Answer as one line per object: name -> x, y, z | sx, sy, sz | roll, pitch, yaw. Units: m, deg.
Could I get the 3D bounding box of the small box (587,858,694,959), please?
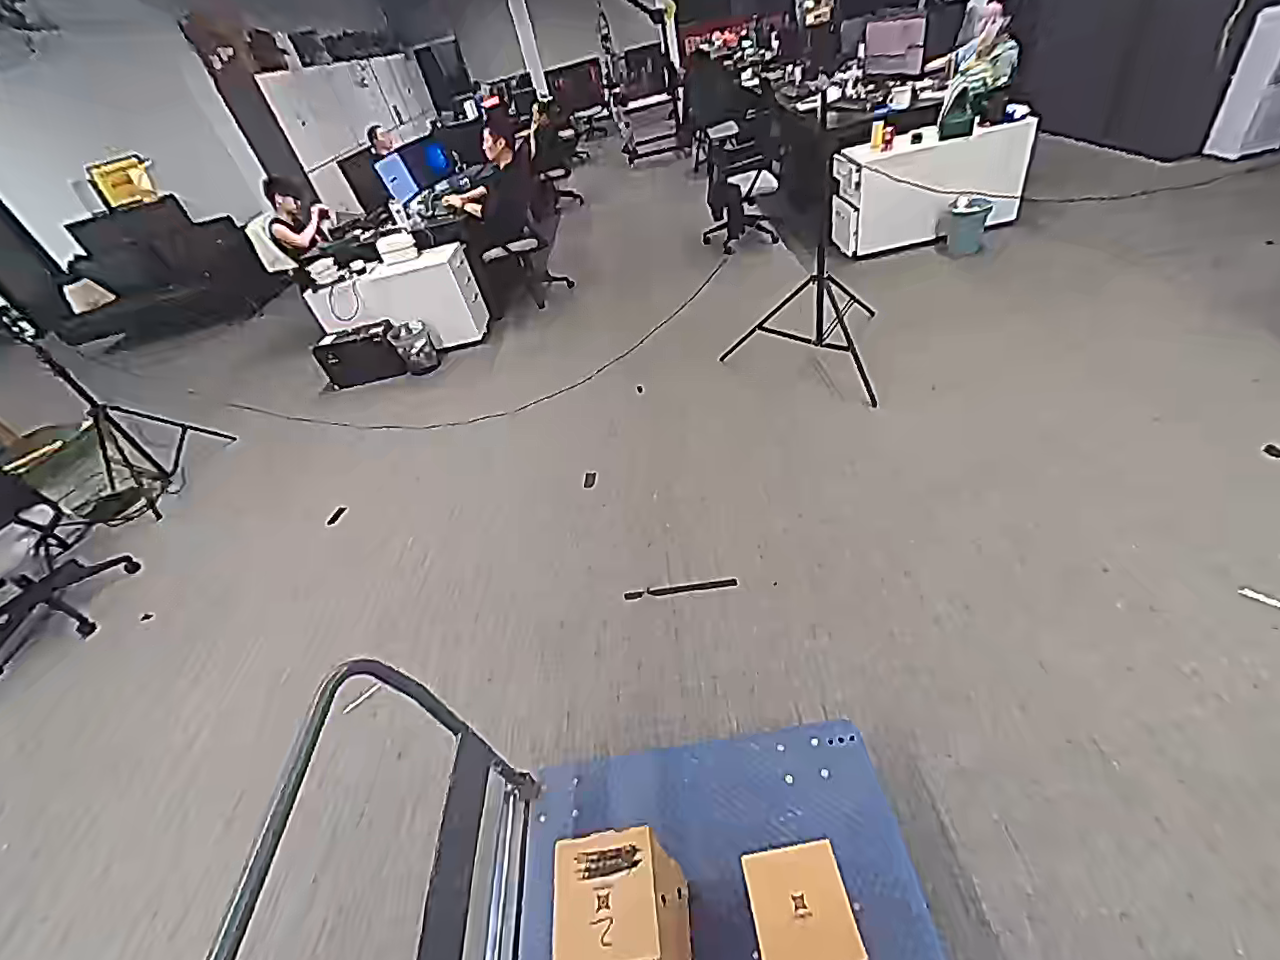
small box -> 0.006, 0.831, 1.001 | 0.168, 0.176, 0.179 | -10, 40, 8

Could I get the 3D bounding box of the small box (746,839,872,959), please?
small box -> 0.295, 0.782, 0.968 | 0.168, 0.176, 0.179 | -14, 40, 3
